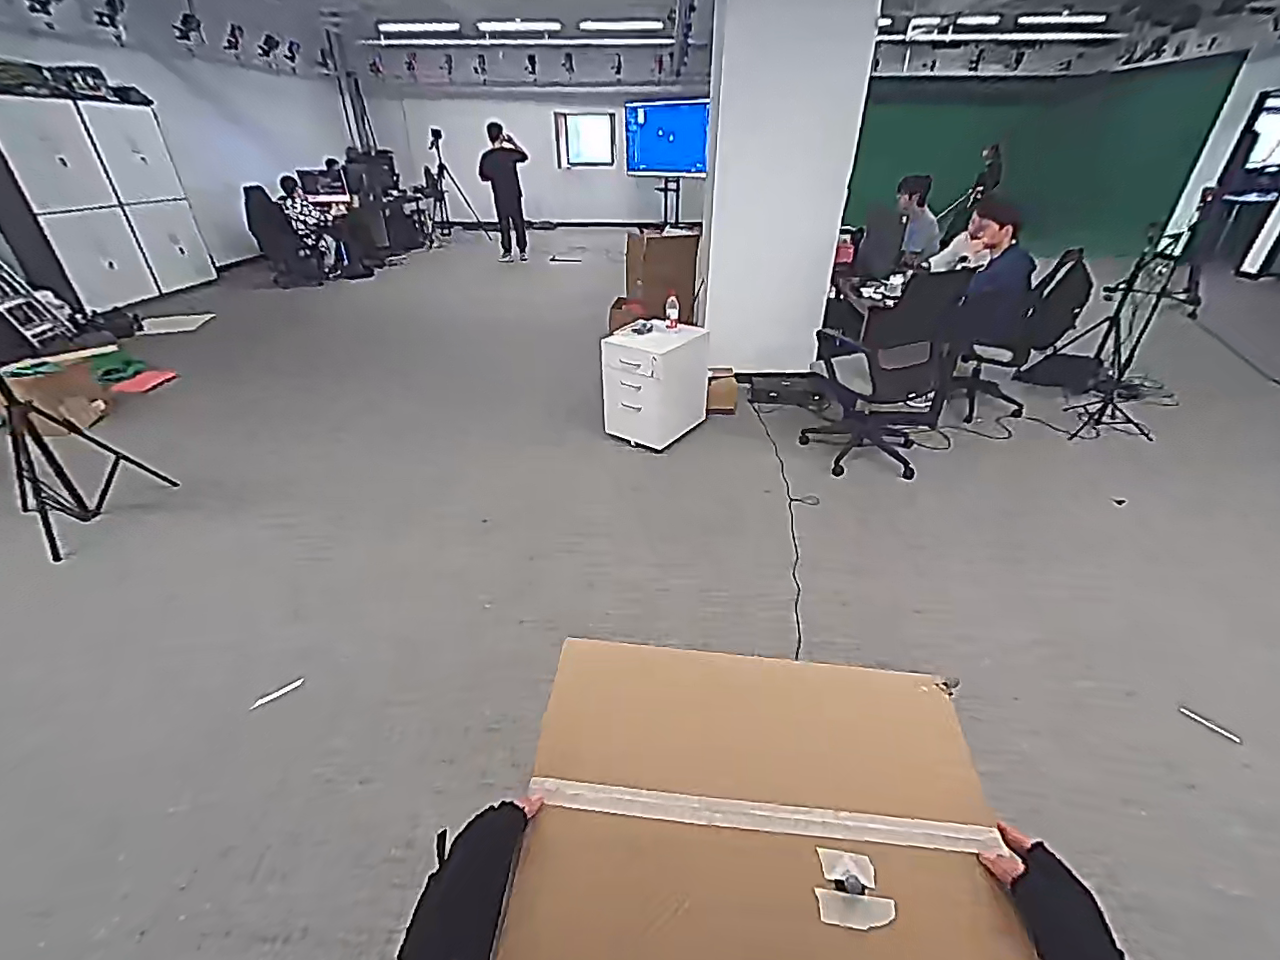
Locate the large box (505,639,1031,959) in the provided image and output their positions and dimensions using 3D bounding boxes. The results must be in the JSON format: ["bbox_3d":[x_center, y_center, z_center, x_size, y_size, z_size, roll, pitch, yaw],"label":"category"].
[{"bbox_3d":[0.101,0.406,0.580,0.408,0.320,0.320,5,41,3],"label":"large box"}]
